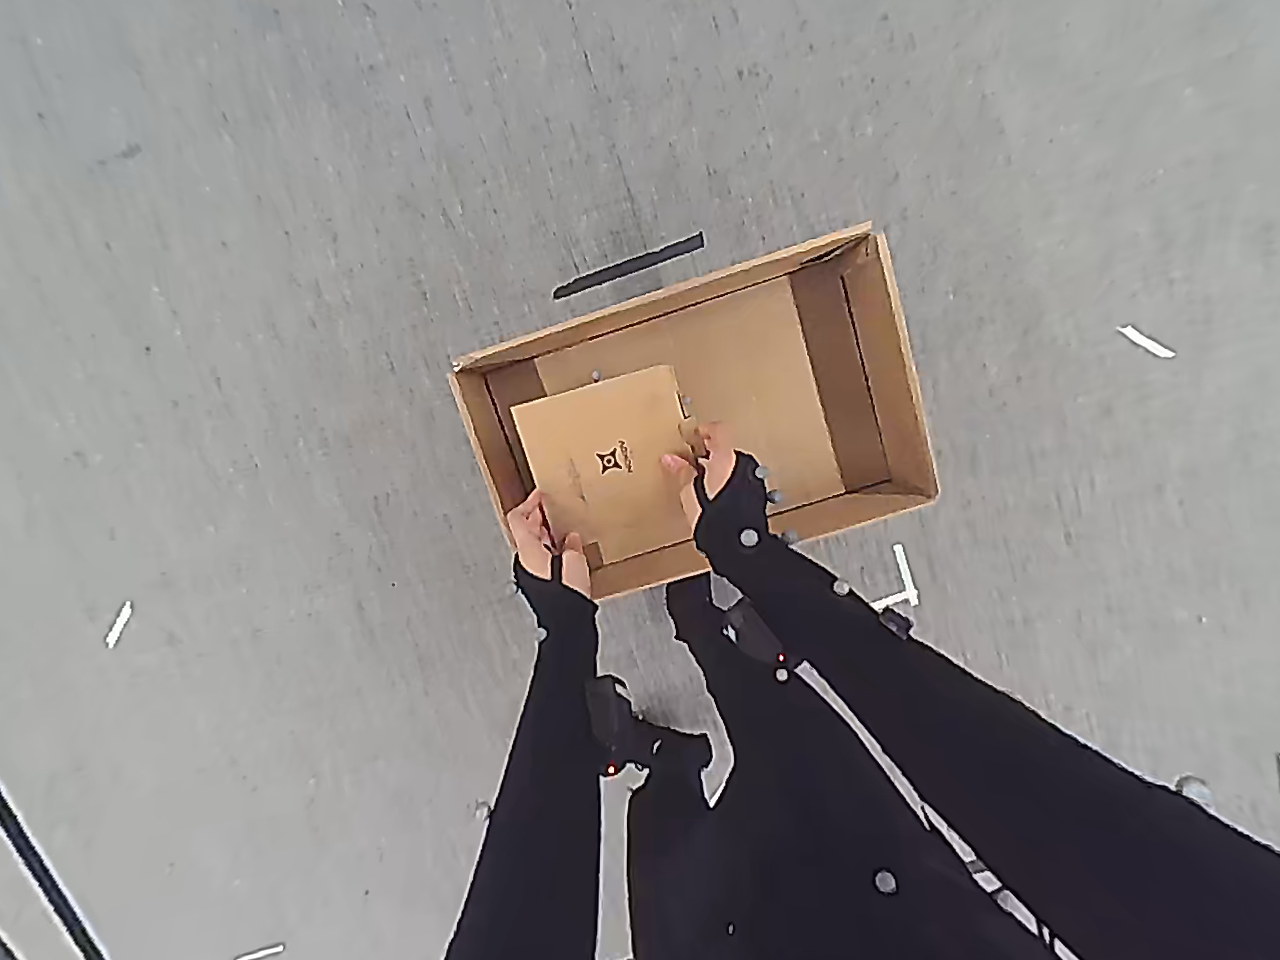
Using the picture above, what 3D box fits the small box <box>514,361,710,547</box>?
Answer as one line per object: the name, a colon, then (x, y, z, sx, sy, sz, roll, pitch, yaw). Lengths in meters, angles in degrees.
small box: (-0.029, -0.040, 0.647, 0.179, 0.176, 0.168, -15, 100, 3)
